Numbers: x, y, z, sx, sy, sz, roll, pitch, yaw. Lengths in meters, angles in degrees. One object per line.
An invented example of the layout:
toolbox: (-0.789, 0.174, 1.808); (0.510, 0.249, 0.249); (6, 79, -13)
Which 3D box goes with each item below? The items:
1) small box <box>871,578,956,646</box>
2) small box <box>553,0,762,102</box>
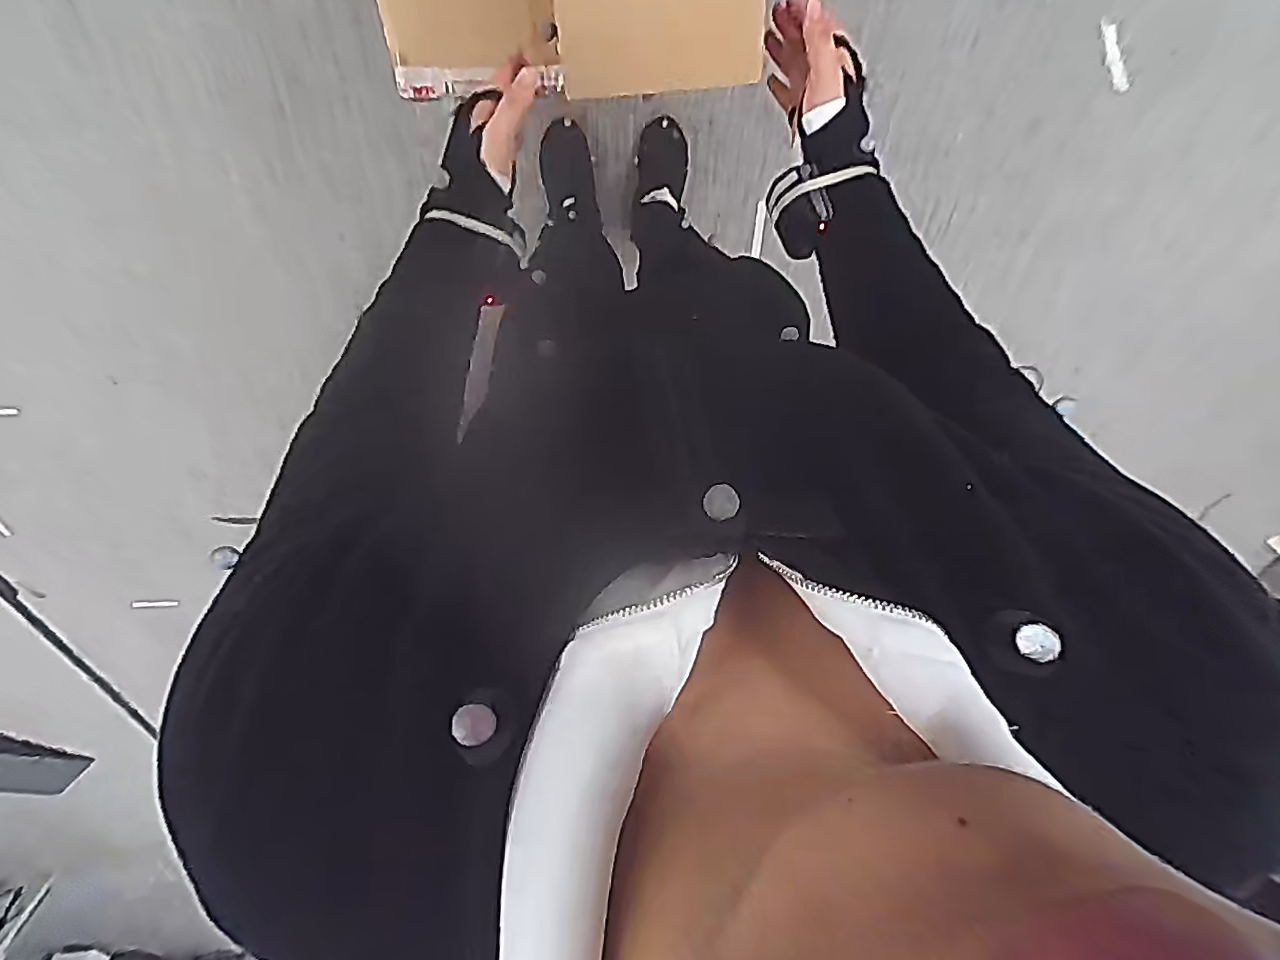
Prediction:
small box: (0.941, 0.457, 1.878); (0.179, 0.176, 0.168); (4, 127, -7)
small box: (0.006, -0.444, 0.459); (0.168, 0.176, 0.179); (-6, 132, -2)
